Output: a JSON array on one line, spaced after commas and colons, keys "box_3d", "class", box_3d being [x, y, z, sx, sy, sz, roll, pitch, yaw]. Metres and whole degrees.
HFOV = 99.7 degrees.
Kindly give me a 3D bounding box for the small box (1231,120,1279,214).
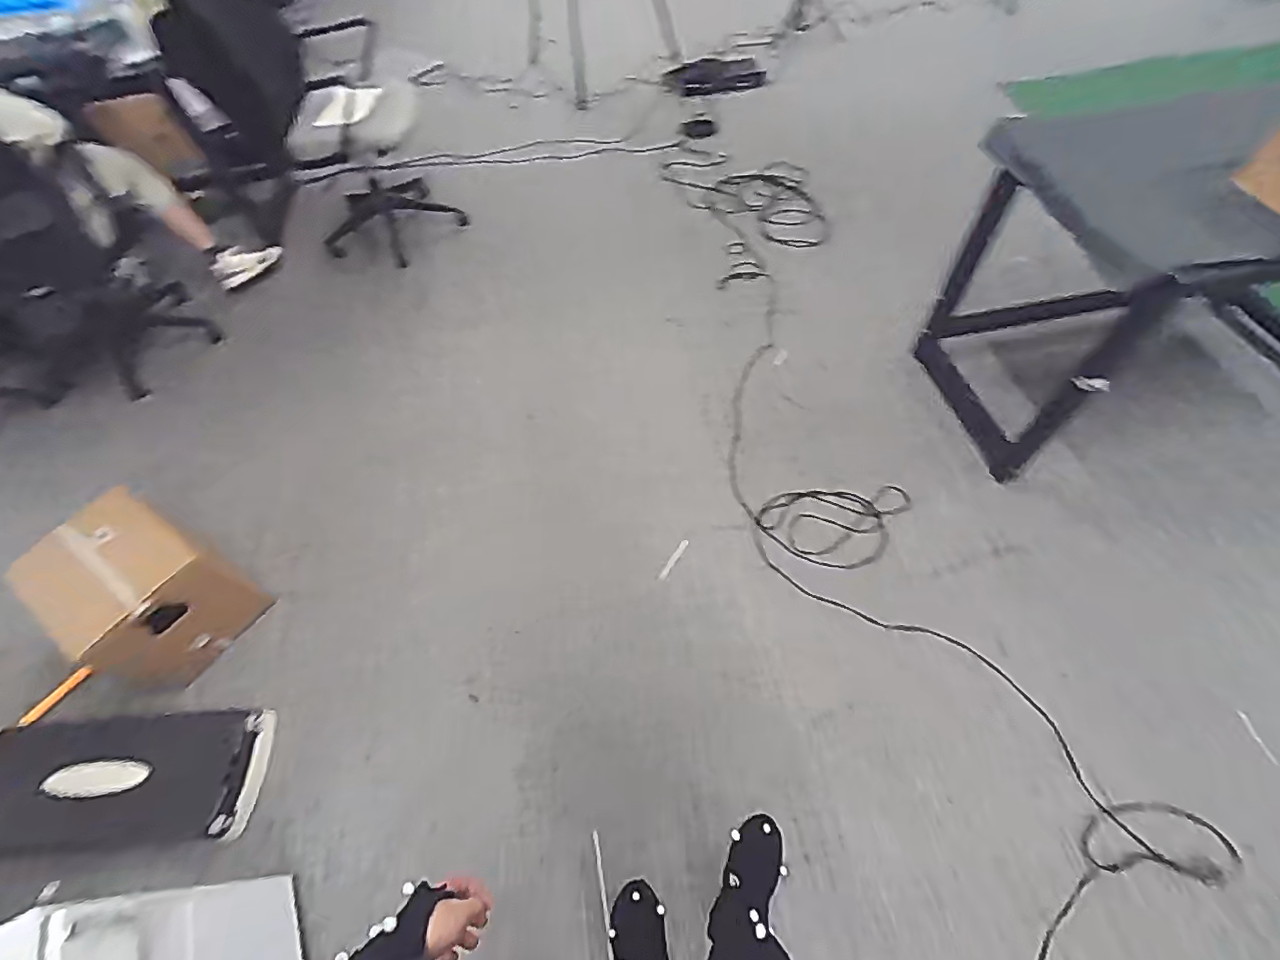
[{"box_3d": [1.330, -0.628, 1.038, 0.168, 0.176, 0.179, -11, 56, -2], "class": "small box"}]
